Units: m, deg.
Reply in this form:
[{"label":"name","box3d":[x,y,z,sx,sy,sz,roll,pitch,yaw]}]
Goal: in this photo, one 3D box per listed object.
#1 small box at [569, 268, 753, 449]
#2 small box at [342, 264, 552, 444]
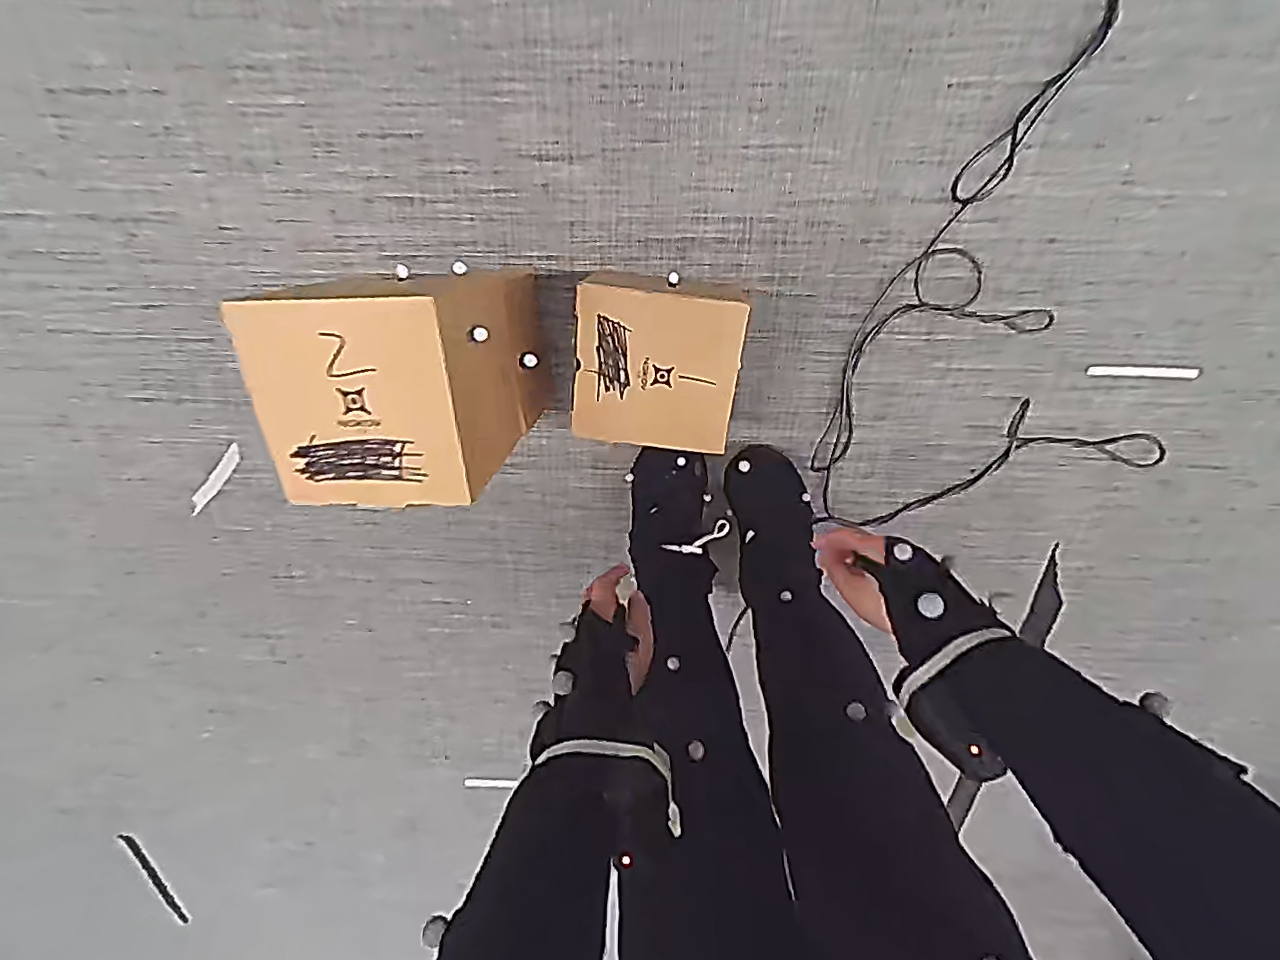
[{"label":"small box","box3d":[0.021,-0.151,0.637,0.179,0.176,0.168,7,116,0]},{"label":"small box","box3d":[-0.212,-0.159,0.651,0.168,0.176,0.179,-4,115,6]}]
